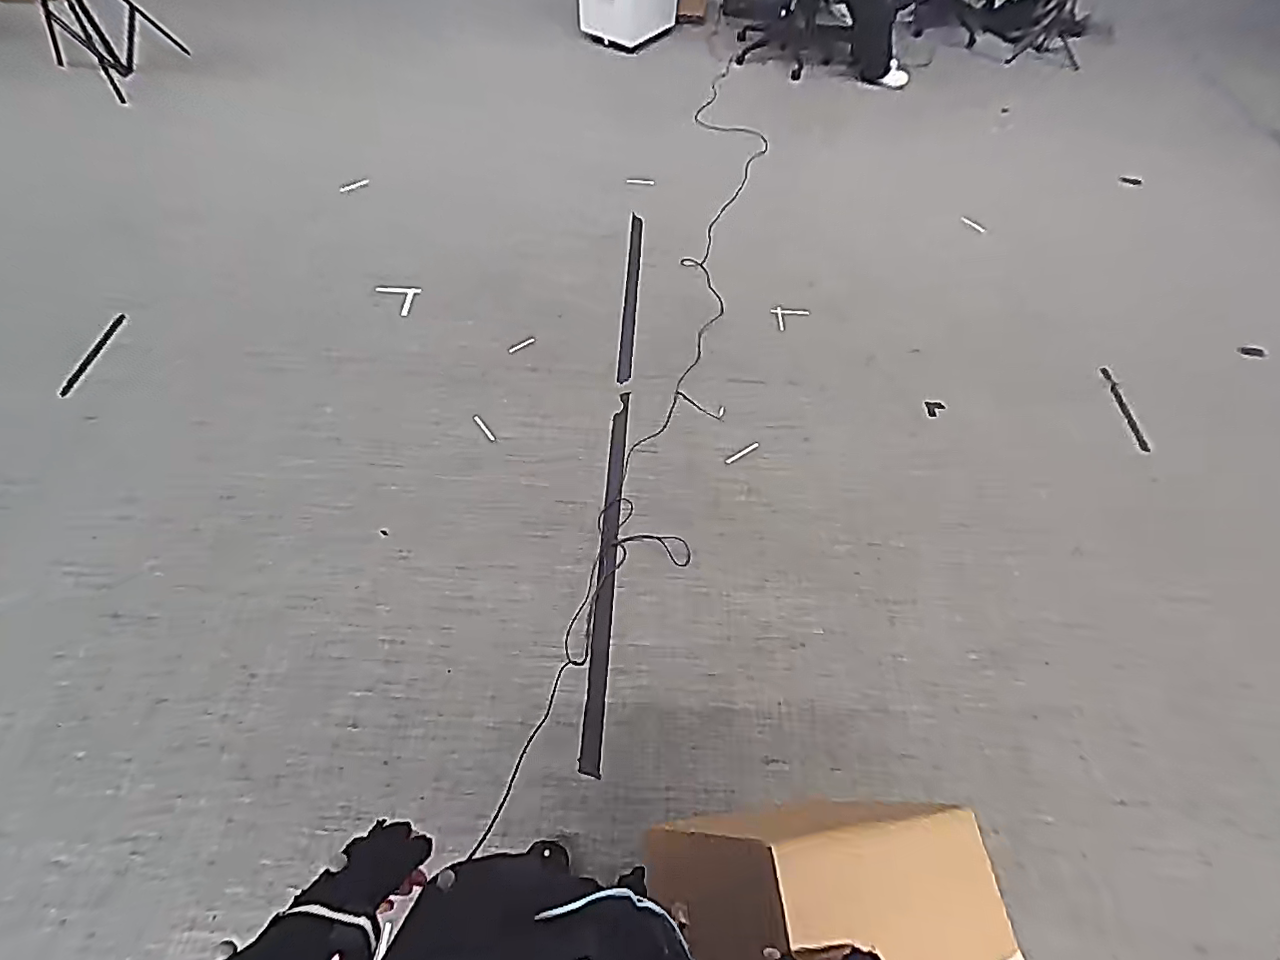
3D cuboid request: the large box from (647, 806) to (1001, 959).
[{"bbox_3d":[0.233,0.653,0.747,0.320,0.408,0.320,5,59,-19],"label":"large box"}]
